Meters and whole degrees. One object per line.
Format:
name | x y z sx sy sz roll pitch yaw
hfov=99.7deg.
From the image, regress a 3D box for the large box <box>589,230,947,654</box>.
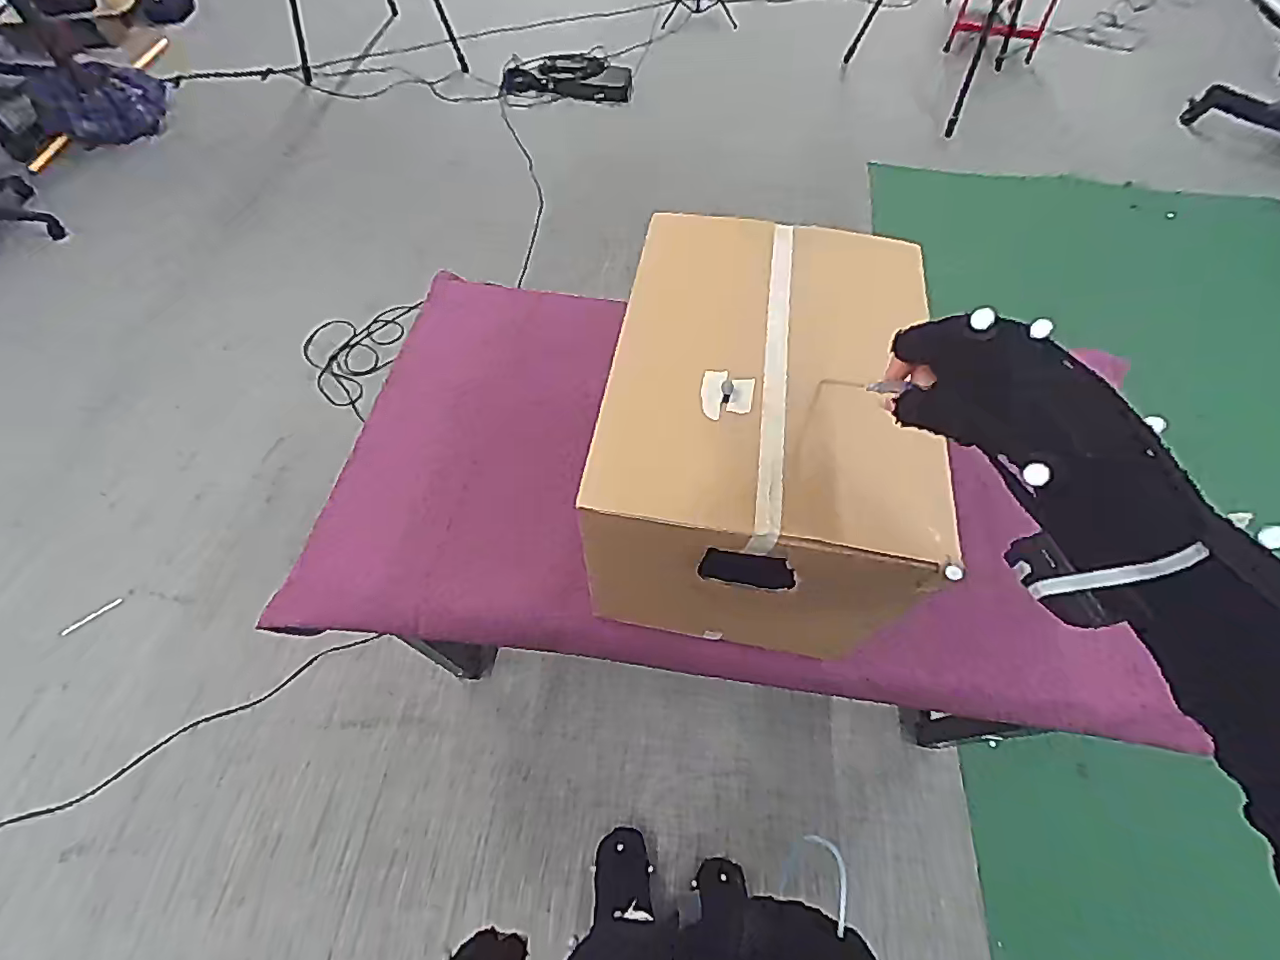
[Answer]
large box | 0.131 -0.038 0.681 0.320 0.320 0.408 9 60 4
